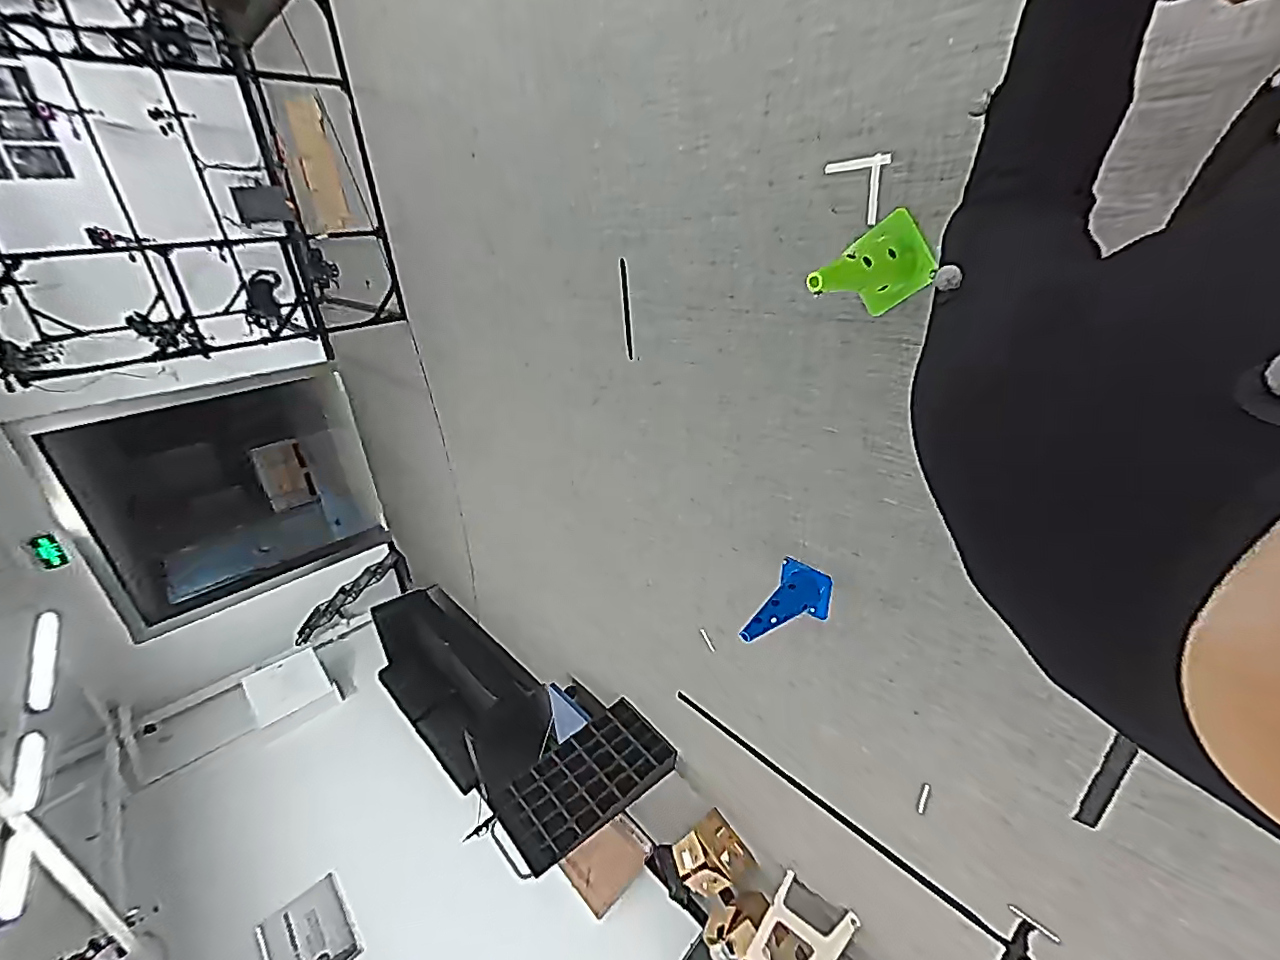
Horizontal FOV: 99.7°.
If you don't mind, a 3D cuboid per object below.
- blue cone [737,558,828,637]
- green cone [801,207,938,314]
[{"bbox_3d":[0.482,0.451,1.905,0.192,0.380,0.193,27,130,41],"label":"blue cone"},{"bbox_3d":[0.507,-0.501,1.293,0.202,0.368,0.200,-32,83,55],"label":"green cone"}]
